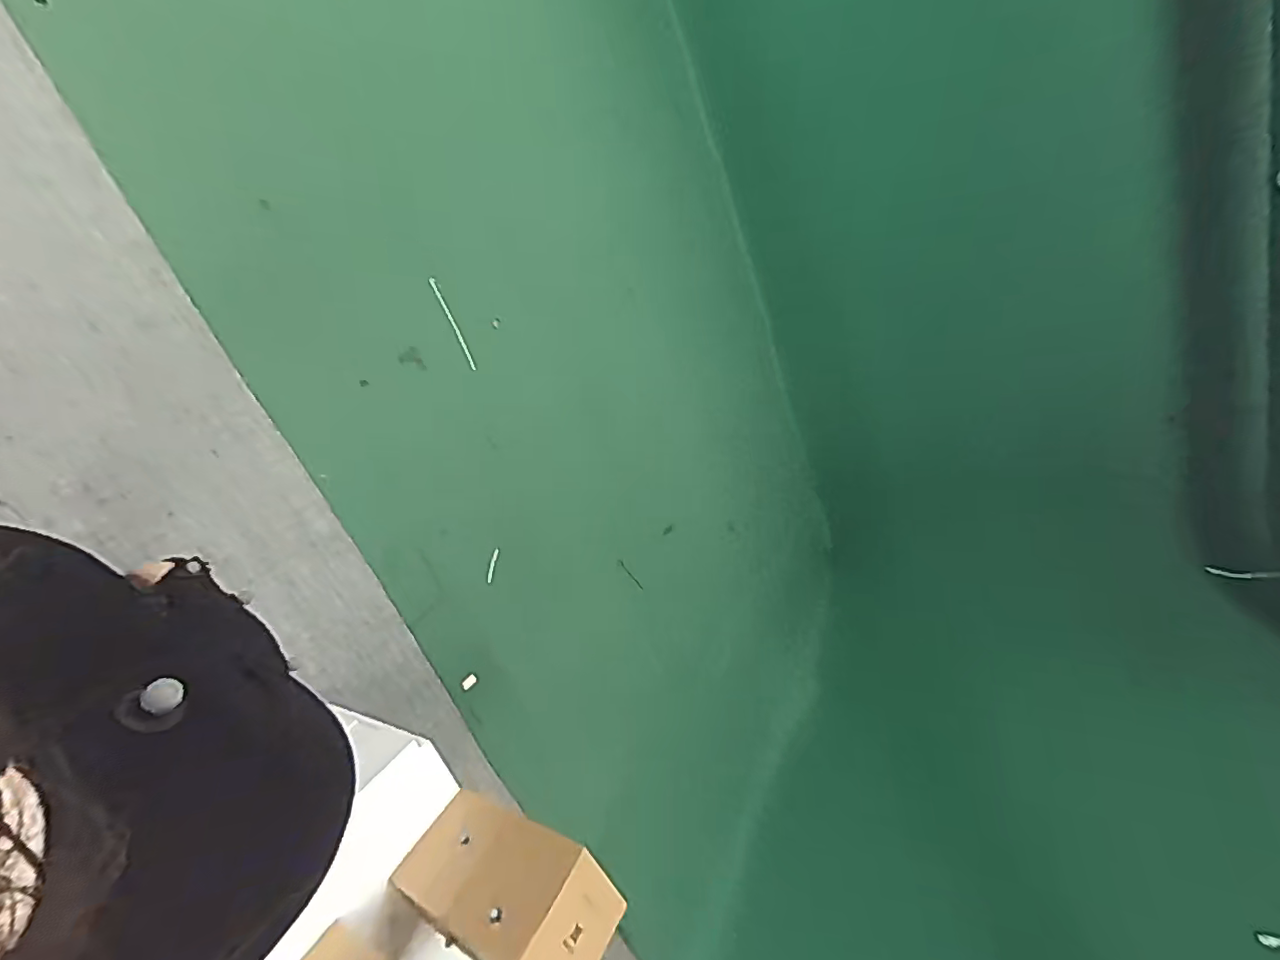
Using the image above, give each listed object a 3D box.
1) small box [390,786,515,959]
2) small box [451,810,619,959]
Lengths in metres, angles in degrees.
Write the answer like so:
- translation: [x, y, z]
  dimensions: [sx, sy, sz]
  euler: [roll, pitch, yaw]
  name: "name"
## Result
- translation: [-0.300, 0.684, 0.959]
  dimensions: [0.179, 0.176, 0.168]
  euler: [-46, 120, -43]
  name: "small box"
- translation: [-0.171, 0.671, 0.857]
  dimensions: [0.179, 0.176, 0.168]
  euler: [-48, 123, -43]
  name: "small box"
